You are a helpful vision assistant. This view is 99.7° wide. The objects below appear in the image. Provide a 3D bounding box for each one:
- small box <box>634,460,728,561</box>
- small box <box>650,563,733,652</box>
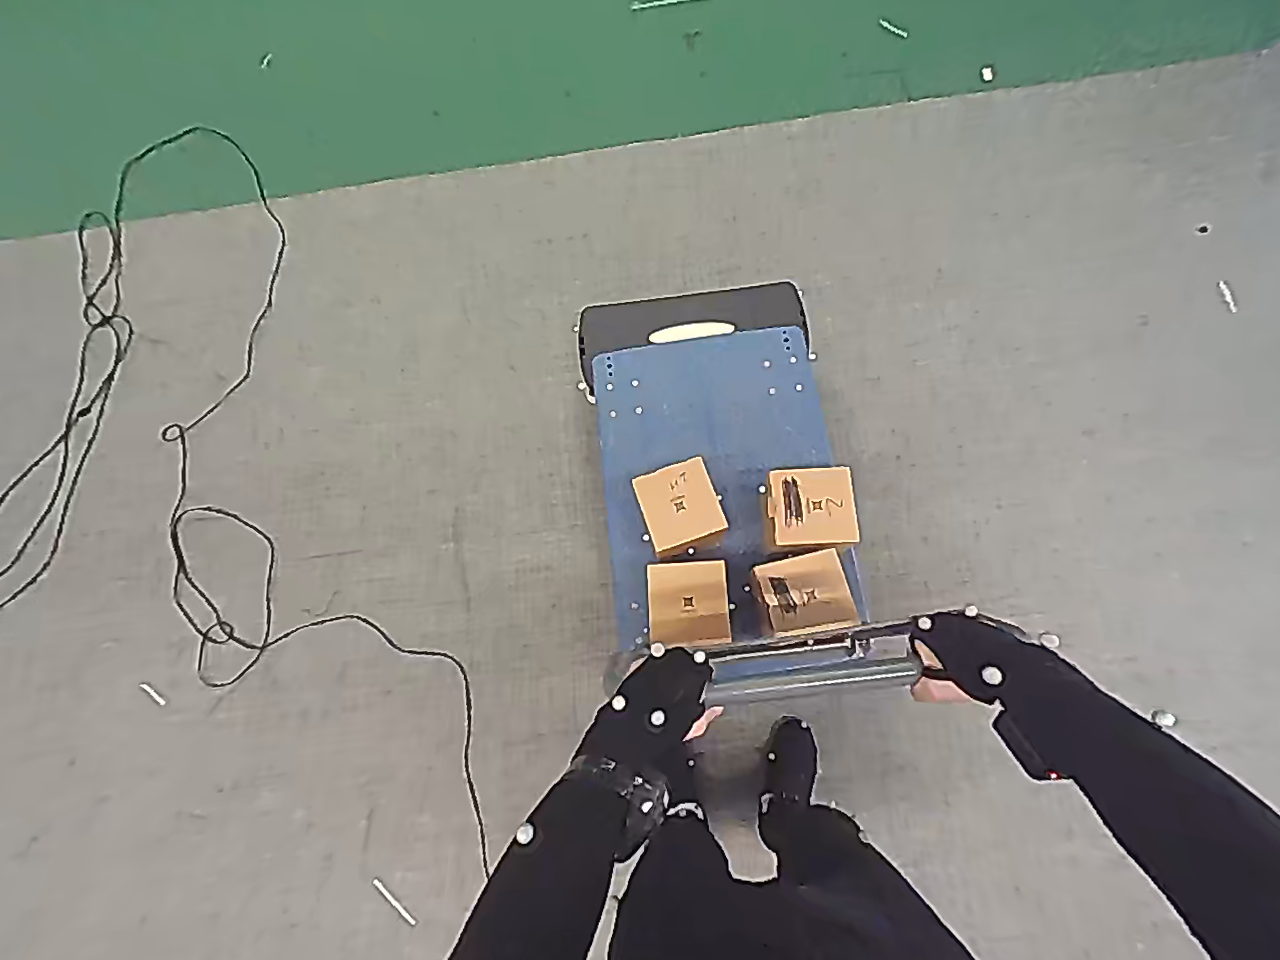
[{"bbox_3d":[0.094,0.080,1.250,0.168,0.176,0.179,-18,73,-2],"label":"small box"},{"bbox_3d":[0.107,0.285,1.189,0.168,0.176,0.179,-3,73,3],"label":"small box"}]
